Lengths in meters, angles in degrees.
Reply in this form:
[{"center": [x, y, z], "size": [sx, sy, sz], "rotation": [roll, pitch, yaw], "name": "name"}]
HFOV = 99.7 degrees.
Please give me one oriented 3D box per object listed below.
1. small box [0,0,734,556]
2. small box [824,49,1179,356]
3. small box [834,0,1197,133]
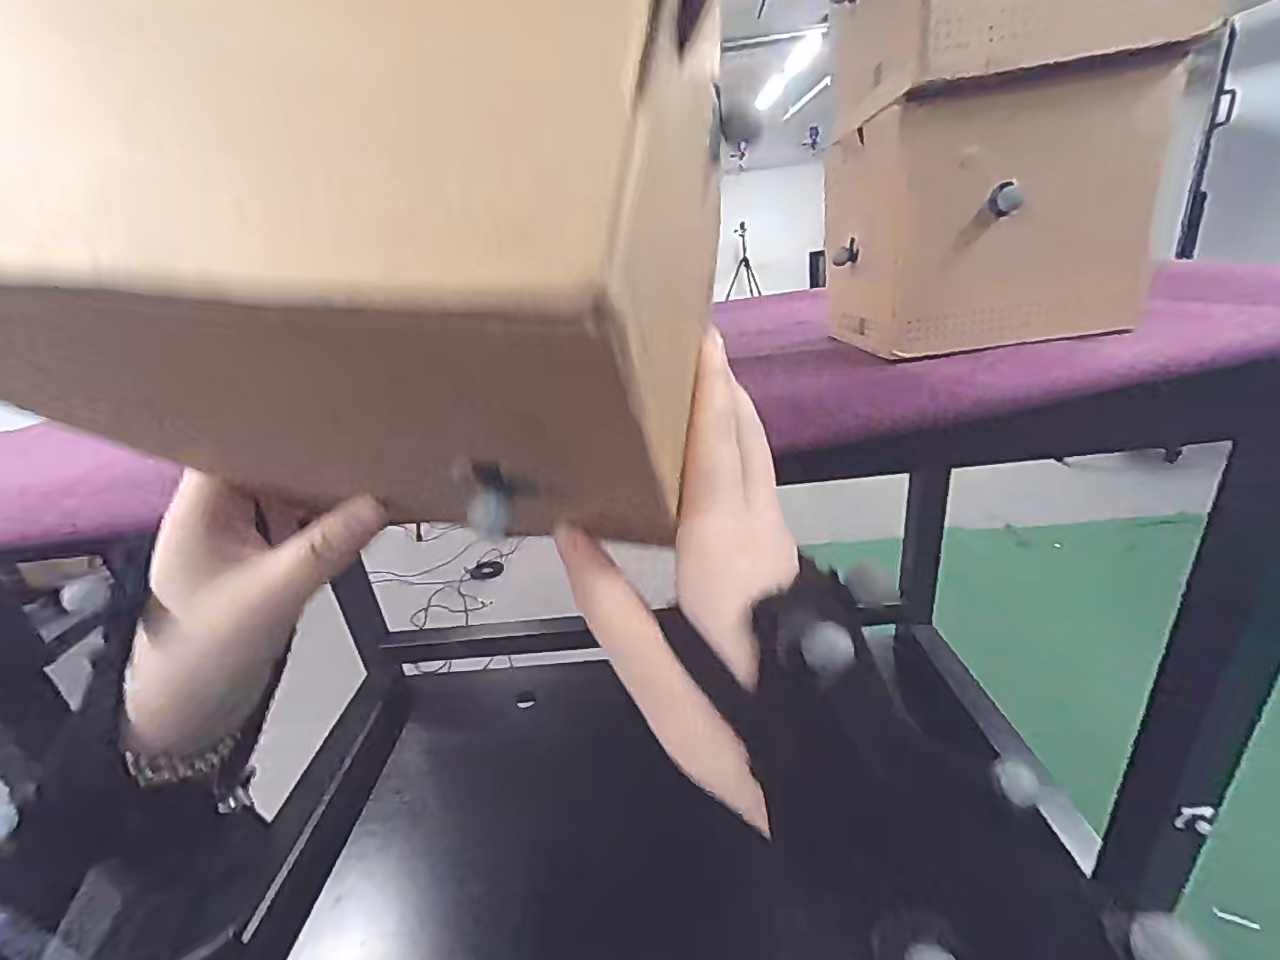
[{"center": [-0.063, -0.074, 0.179], "size": [0.179, 0.168, 0.176], "rotation": [5, -16, 10], "name": "small box"}, {"center": [0.260, -0.203, 0.437], "size": [0.179, 0.176, 0.168], "rotation": [-7, 22, 5], "name": "small box"}, {"center": [0.239, -0.348, 0.365], "size": [0.179, 0.176, 0.168], "rotation": [-6, 21, 4], "name": "small box"}]
